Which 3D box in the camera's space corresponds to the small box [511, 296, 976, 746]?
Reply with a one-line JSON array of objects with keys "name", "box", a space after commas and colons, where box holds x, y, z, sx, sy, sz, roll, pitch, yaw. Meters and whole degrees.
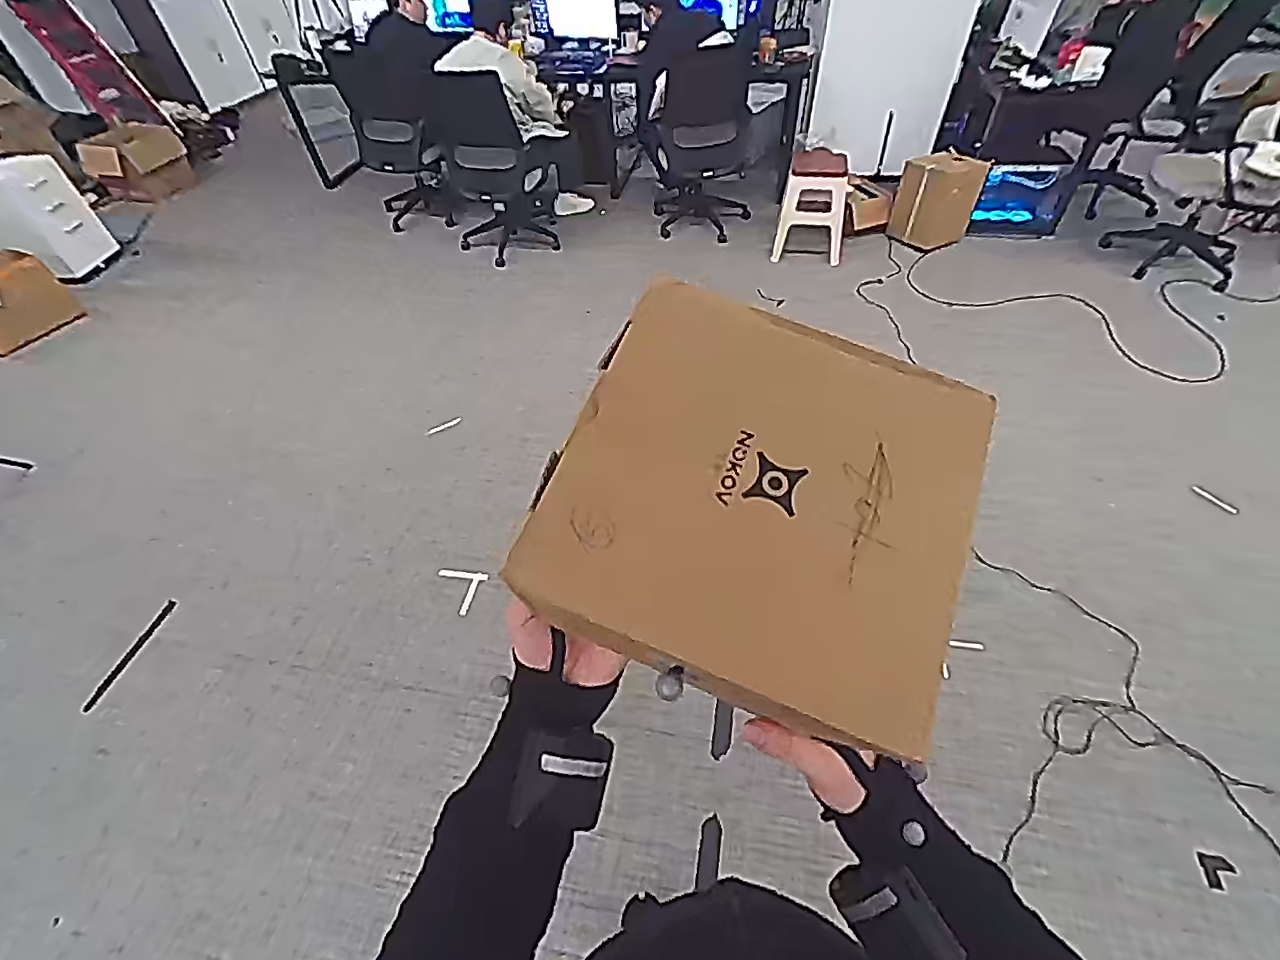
[{"name": "small box", "box": [0.050, 0.032, 0.318, 0.179, 0.176, 0.168, 21, 71, 4]}]
